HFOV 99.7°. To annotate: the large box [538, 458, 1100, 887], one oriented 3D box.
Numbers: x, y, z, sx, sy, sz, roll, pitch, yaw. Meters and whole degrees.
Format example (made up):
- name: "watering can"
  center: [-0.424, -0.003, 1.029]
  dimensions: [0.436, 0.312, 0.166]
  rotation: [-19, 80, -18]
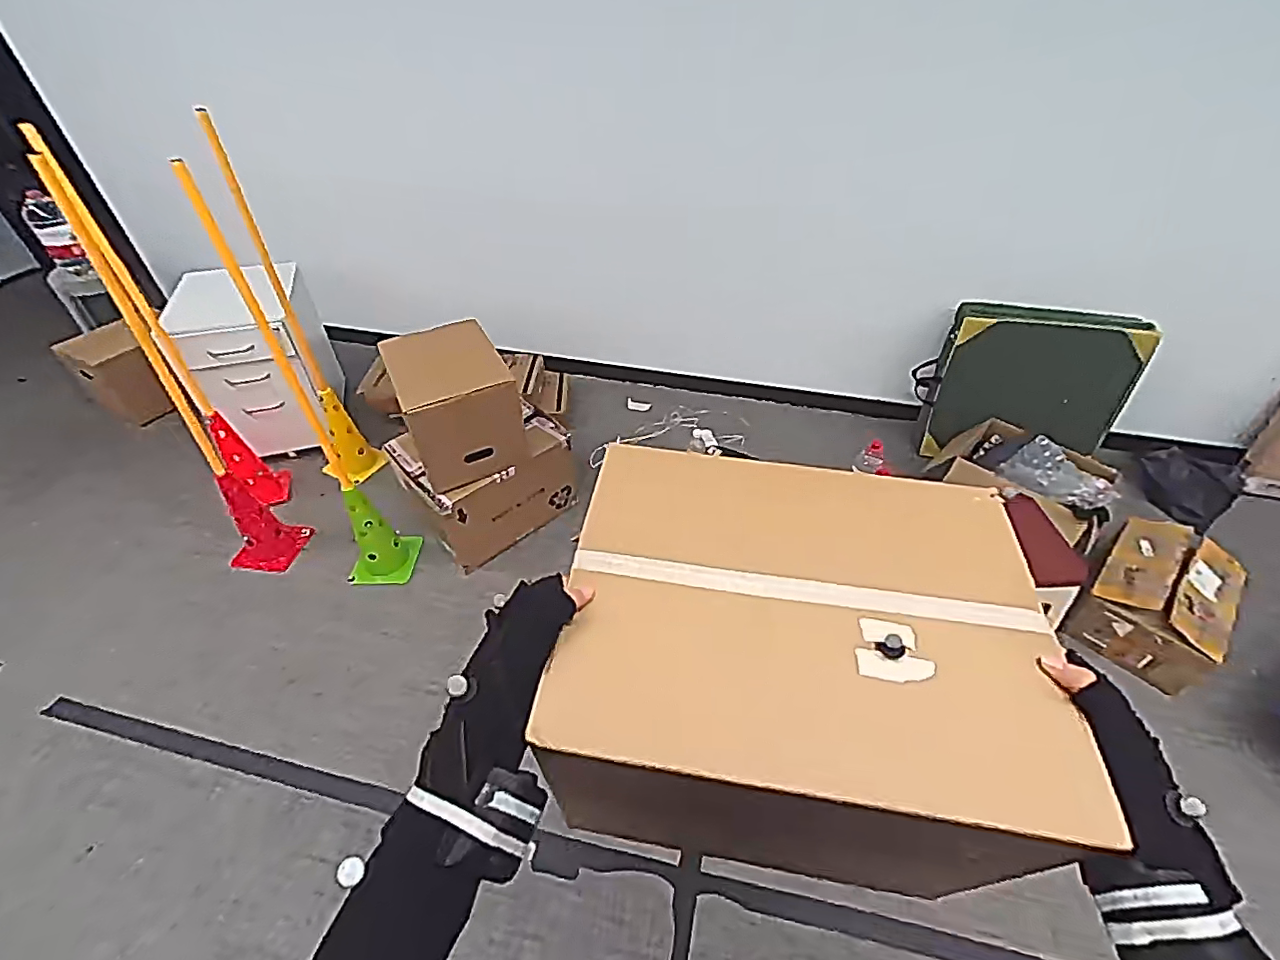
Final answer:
- name: "large box"
  center: [0.136, 0.206, 0.591]
  dimensions: [0.408, 0.320, 0.320]
  rotation: [7, 48, 6]
